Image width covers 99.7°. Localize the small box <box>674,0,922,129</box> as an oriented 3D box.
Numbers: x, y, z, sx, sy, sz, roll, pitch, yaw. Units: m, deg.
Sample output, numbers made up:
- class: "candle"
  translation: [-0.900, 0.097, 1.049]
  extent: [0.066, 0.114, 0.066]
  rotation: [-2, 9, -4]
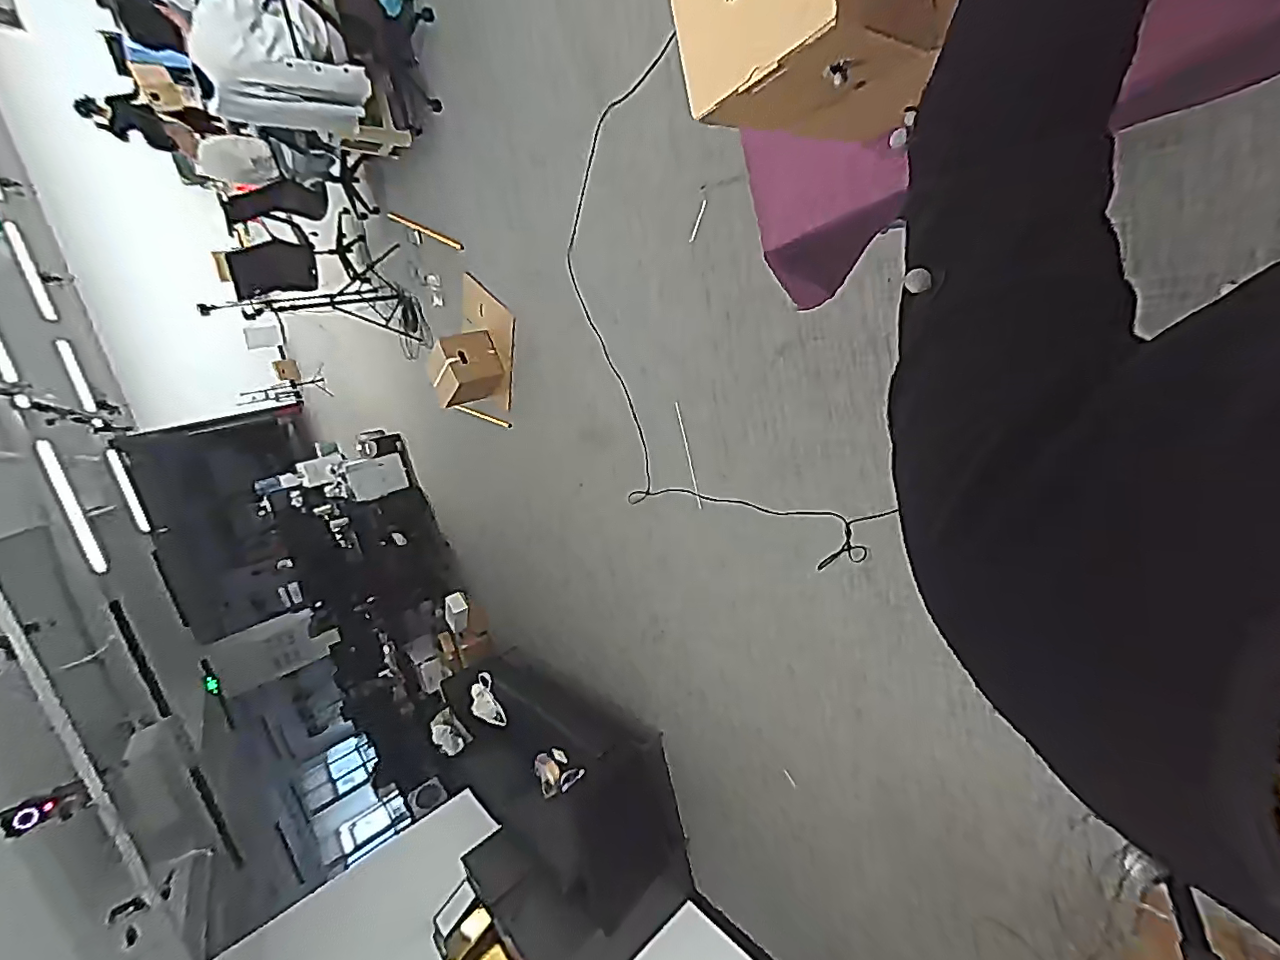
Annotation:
- class: "small box"
  translation: [0.152, -0.468, 0.524]
  extent: [0.168, 0.176, 0.179]
  rotation: [4, 110, 52]
